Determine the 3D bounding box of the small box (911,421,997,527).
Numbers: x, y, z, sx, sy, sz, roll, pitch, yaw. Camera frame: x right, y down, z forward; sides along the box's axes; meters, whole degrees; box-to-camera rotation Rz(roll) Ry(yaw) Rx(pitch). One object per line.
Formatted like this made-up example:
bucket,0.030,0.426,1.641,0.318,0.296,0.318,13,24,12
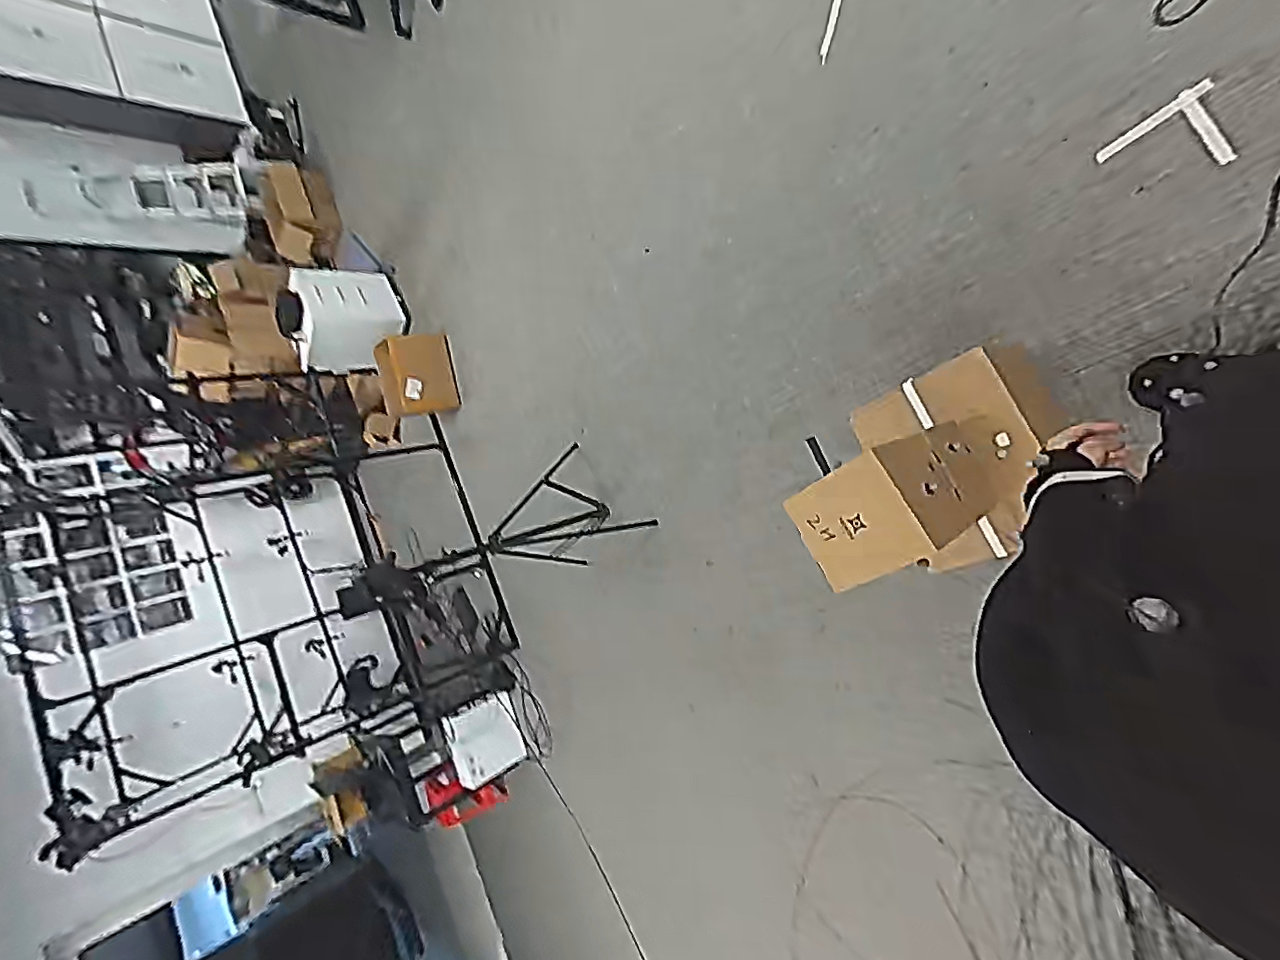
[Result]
small box,0.492,0.010,0.951,0.179,0.176,0.168,-37,73,47

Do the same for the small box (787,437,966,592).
small box,0.373,0.048,0.843,0.179,0.176,0.168,-42,70,45

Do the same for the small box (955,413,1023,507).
small box,0.607,-0.016,1.063,0.179,0.176,0.168,-34,77,46
